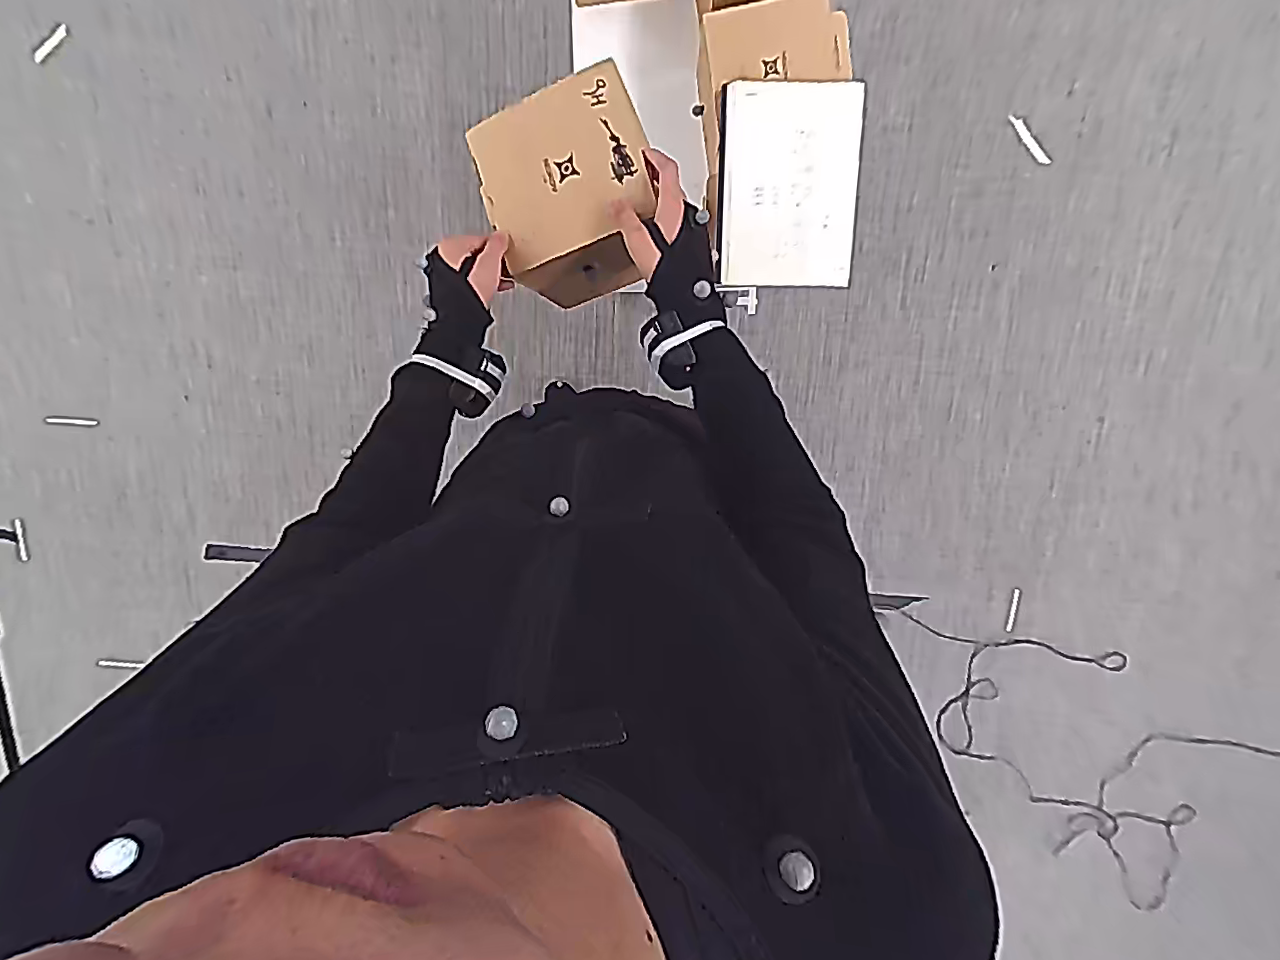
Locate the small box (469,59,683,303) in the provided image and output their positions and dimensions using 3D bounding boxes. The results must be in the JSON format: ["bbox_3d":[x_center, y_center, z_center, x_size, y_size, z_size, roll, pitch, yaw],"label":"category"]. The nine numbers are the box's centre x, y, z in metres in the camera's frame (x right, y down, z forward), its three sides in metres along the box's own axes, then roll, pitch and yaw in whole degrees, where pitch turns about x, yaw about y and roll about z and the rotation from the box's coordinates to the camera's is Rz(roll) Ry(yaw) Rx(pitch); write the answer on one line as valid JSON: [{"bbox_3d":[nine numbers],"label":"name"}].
[{"bbox_3d":[-0.064,-0.328,0.639,0.179,0.176,0.168,-17,92,15],"label":"small box"}]
